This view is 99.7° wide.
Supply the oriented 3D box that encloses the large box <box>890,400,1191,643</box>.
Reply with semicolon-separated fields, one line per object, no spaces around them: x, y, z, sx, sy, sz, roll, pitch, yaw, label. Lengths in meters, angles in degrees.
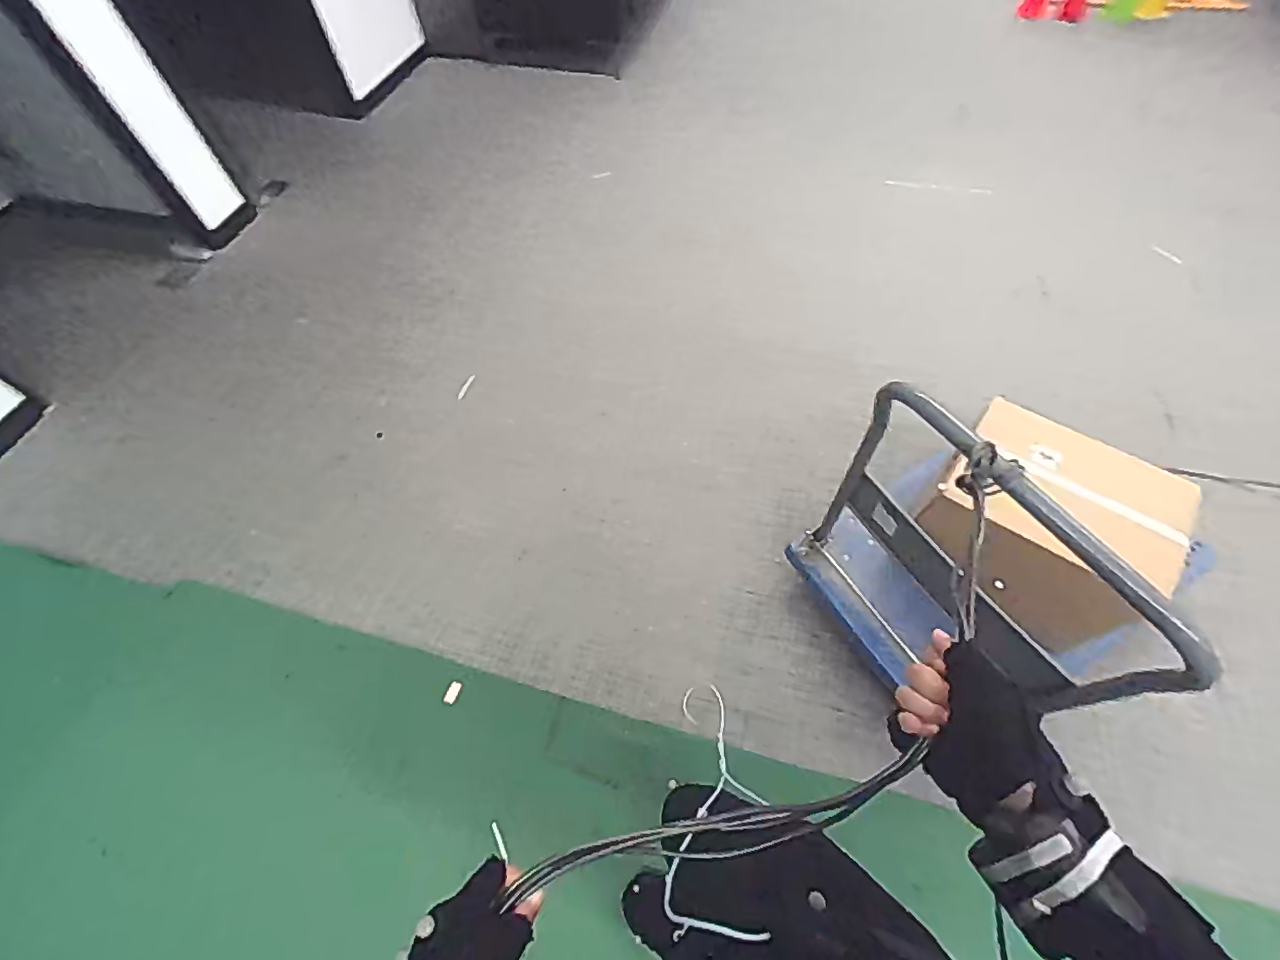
0.859;0.096;1.213;0.408;0.320;0.320;32;66;21;large box
